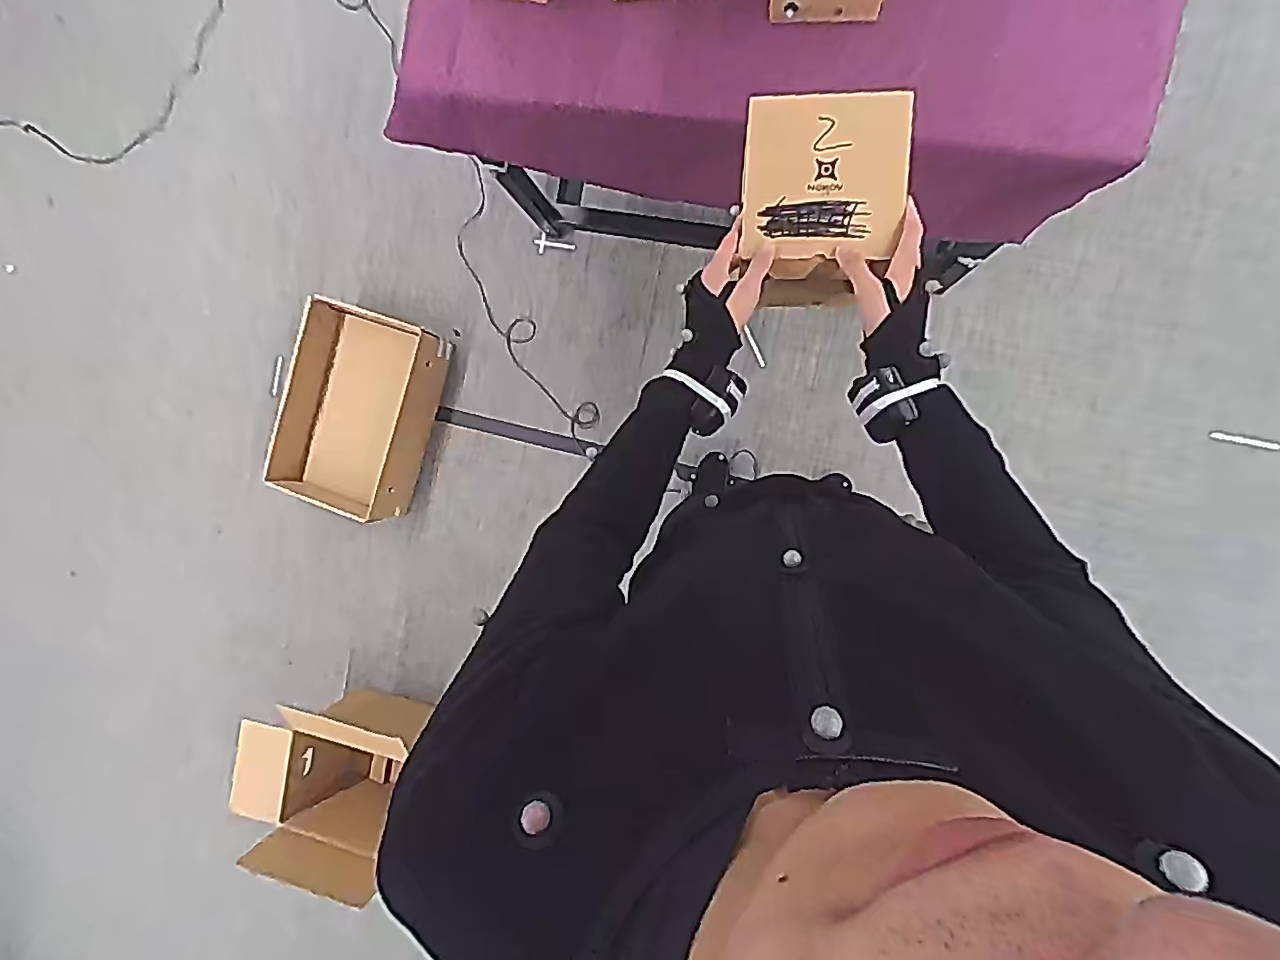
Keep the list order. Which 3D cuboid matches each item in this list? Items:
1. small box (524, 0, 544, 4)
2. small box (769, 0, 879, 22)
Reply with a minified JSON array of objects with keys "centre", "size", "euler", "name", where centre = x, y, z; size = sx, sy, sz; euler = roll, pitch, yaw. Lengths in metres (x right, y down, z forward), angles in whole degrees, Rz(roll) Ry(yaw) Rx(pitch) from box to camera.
[{"centre":[-0.226,-0.915,0.856],"size":[0.168,0.176,0.179],"euler":[17,95,8],"name":"small box"},{"centre":[0.280,-0.800,0.770],"size":[0.168,0.176,0.179],"euler":[7,93,10],"name":"small box"}]
